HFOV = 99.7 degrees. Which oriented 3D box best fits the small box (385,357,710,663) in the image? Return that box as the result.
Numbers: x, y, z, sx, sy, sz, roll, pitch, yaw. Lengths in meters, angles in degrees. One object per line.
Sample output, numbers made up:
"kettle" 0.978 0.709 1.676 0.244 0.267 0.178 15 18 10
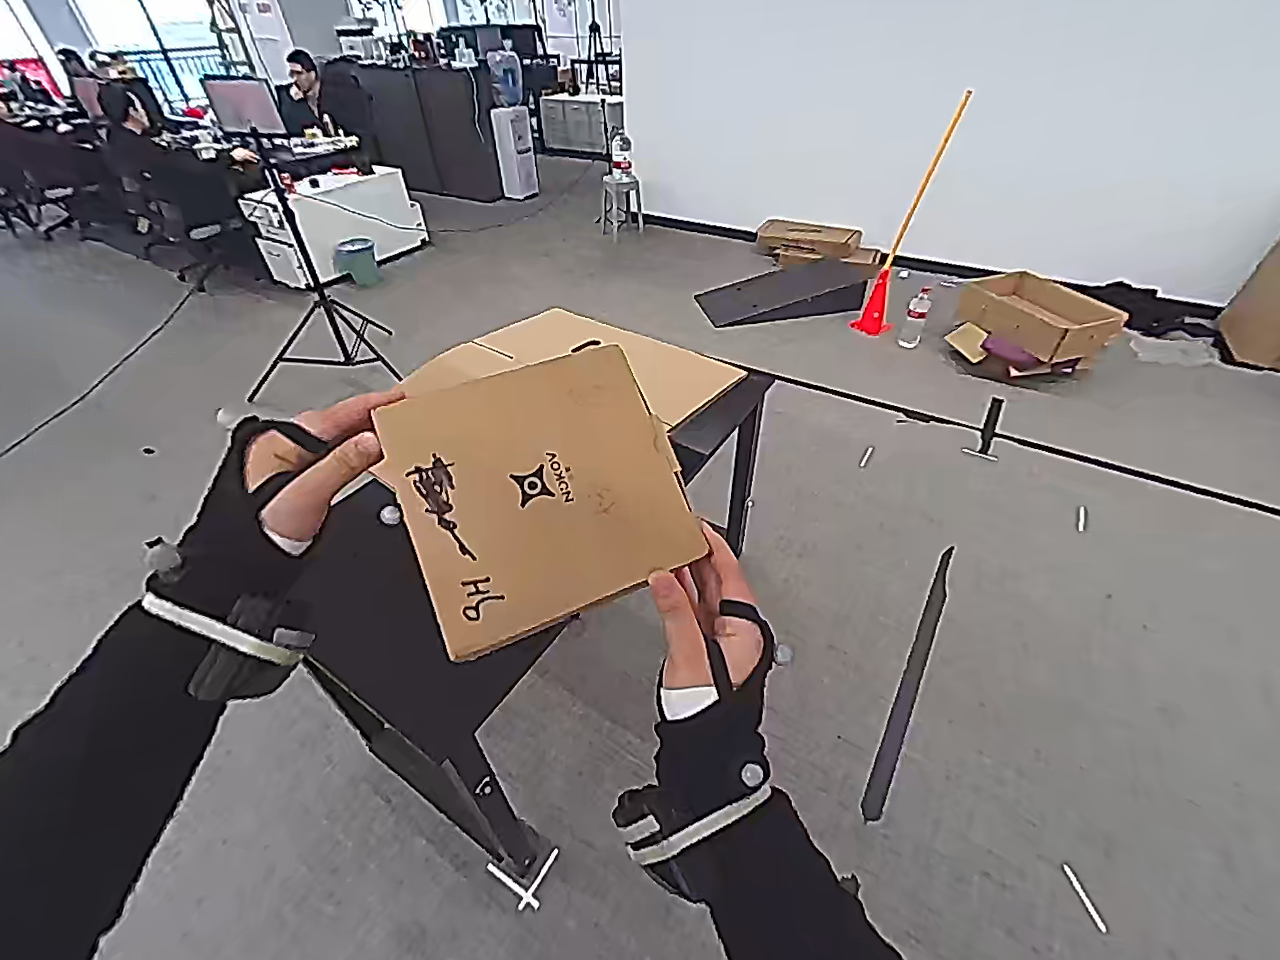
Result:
"small box" -0.077 0.031 0.431 0.179 0.176 0.168 -20 78 -19
